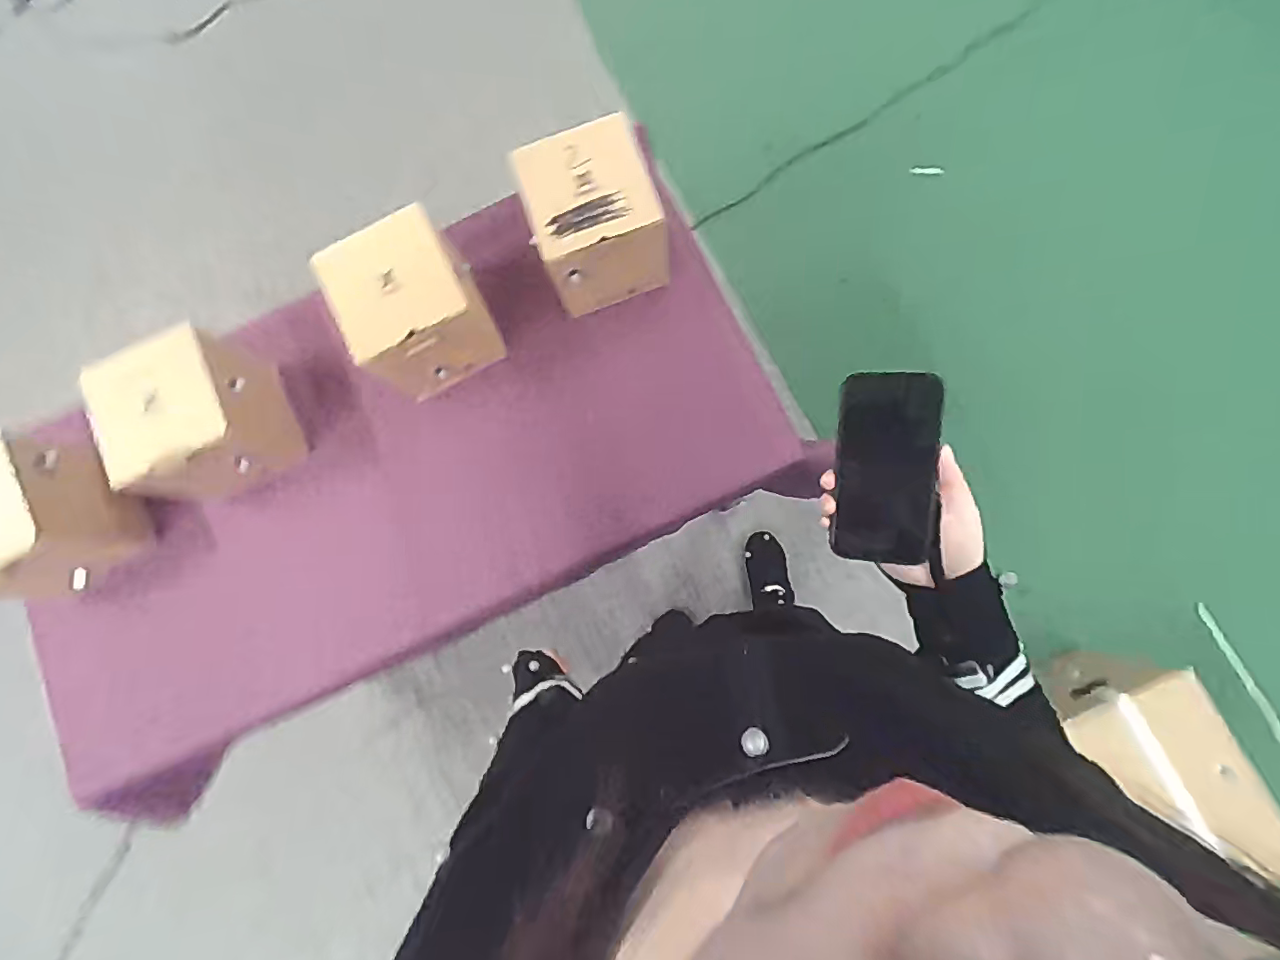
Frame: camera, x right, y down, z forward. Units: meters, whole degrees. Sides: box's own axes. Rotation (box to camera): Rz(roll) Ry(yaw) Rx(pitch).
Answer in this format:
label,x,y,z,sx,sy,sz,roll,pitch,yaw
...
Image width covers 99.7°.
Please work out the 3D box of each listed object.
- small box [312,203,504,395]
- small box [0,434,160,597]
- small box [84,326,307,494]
label,x,y,z,sx,sy,sz,roll,pitch,yaw
small box,-0.327,-0.252,0.794,0.168,0.176,0.179,-28,81,0
small box,-0.874,0.062,0.791,0.168,0.176,0.179,-31,81,0
small box,-0.636,-0.088,0.796,0.168,0.176,0.179,-26,81,-1
